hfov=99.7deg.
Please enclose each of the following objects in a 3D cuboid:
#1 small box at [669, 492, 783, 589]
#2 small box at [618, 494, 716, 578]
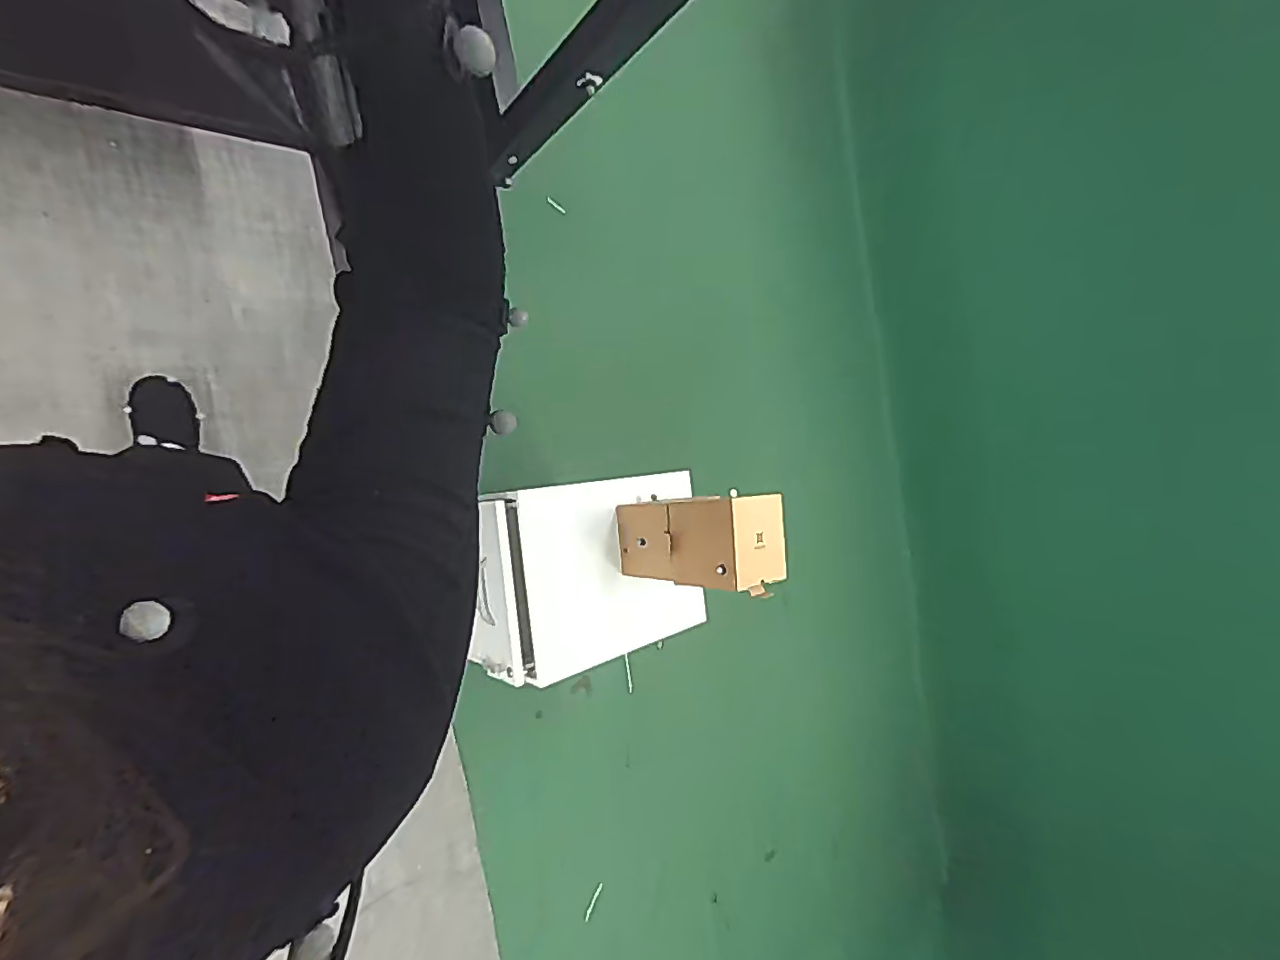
[{"bbox_3d":[0.172,0.117,1.103,0.168,0.176,0.179,-3,89,-43],"label":"small box"},{"bbox_3d":[0.063,0.122,1.225,0.179,0.176,0.168,-6,92,-42],"label":"small box"}]
